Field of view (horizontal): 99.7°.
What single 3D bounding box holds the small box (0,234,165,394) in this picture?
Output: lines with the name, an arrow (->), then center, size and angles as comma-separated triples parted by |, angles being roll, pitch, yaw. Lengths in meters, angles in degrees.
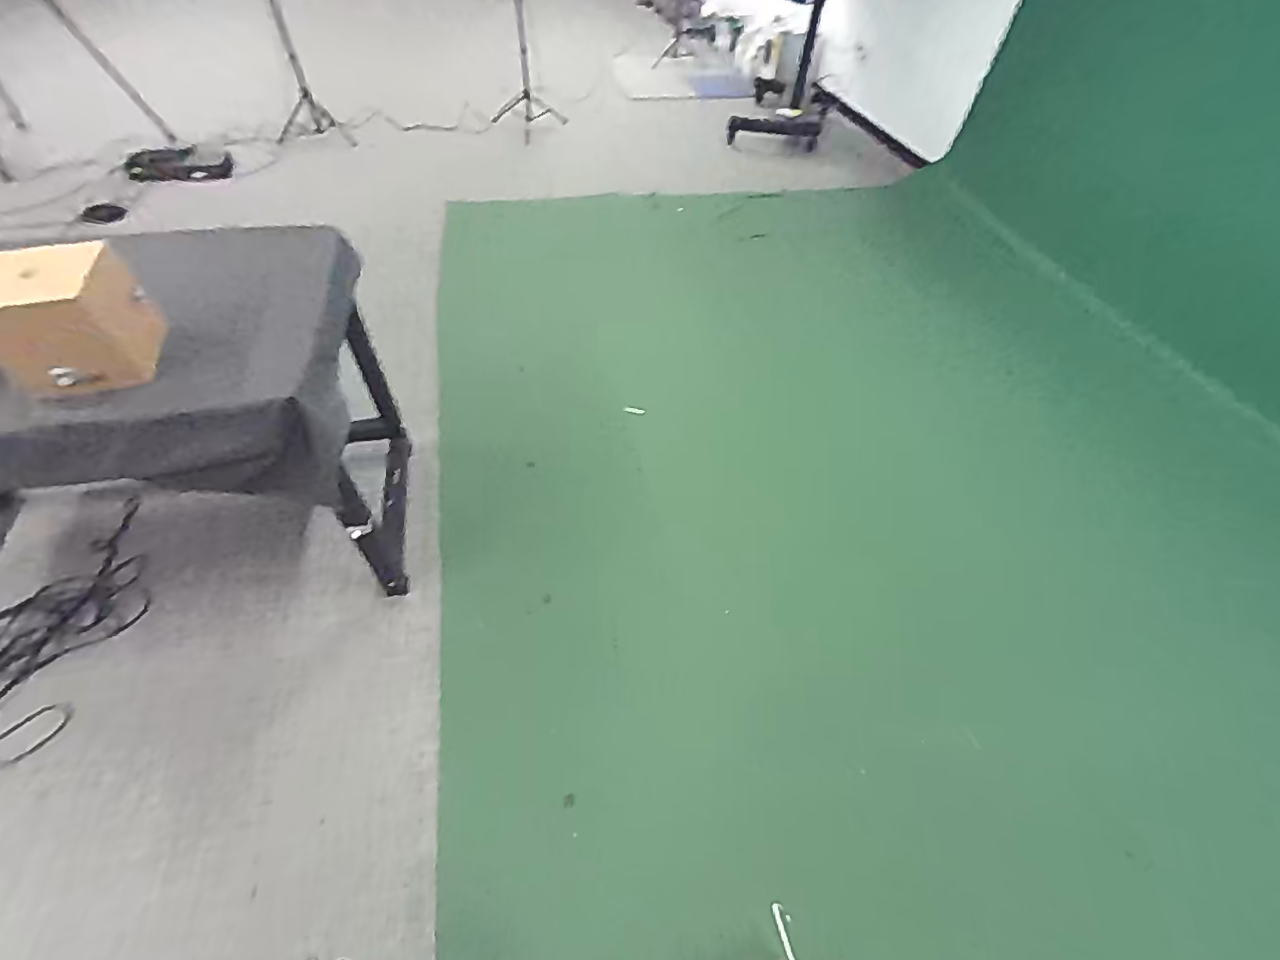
small box -> -0.914, -0.266, 0.867 | 0.168, 0.176, 0.179 | -15, 54, -14
